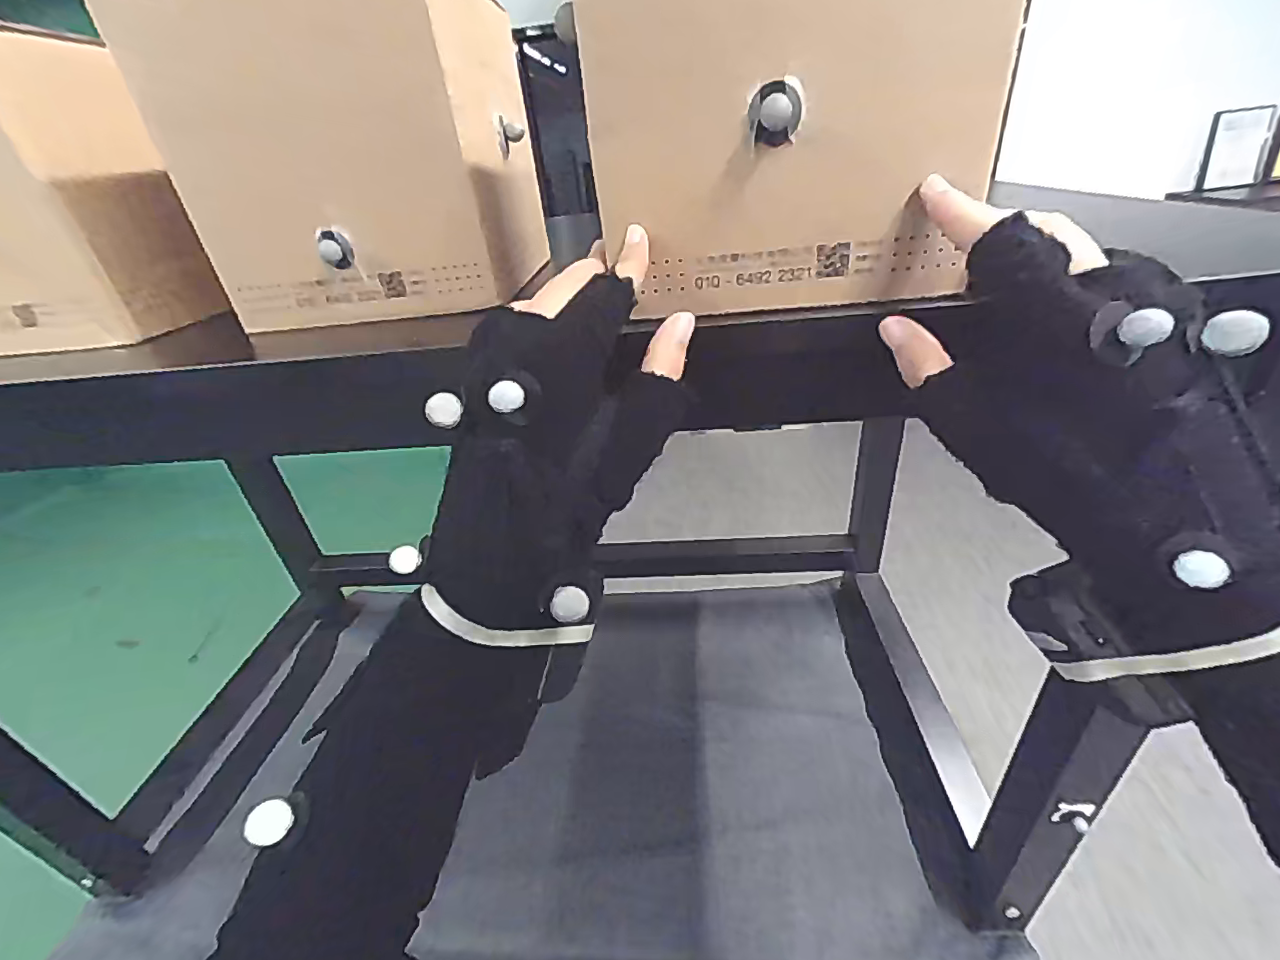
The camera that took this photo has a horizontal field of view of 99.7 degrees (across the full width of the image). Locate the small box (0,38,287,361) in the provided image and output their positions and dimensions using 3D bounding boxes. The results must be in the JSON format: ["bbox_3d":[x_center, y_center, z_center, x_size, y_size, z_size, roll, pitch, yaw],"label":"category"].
[{"bbox_3d":[-0.405,-0.190,0.390,0.168,0.176,0.179,-3,31,8],"label":"small box"}]

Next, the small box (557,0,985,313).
[{"bbox_3d":[0.065,-0.192,0.292,0.168,0.176,0.179,-1,31,9],"label":"small box"}]
